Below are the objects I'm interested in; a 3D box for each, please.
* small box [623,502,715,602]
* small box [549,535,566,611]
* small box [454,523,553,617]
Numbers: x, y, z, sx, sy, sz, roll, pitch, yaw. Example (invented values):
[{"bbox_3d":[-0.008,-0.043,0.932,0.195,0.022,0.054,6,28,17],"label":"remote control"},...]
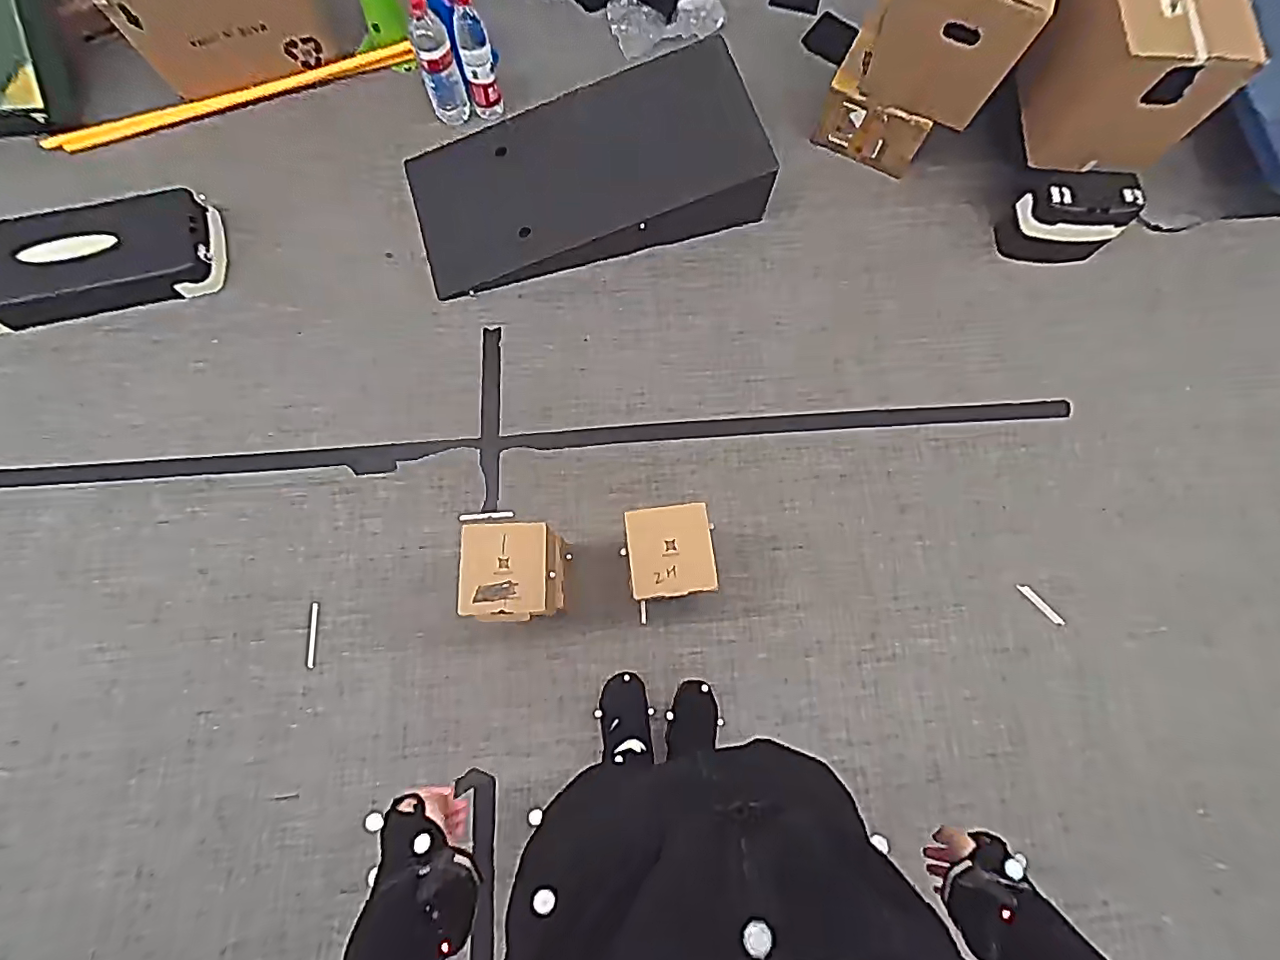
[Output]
[{"bbox_3d":[0.052,0.154,1.123,0.168,0.176,0.179,-6,77,-3],"label":"small box"},{"bbox_3d":[-0.267,0.225,1.265,0.179,0.176,0.168,-4,76,-3],"label":"small box"},{"bbox_3d":[-0.270,0.188,1.105,0.168,0.176,0.179,-1,75,-3],"label":"small box"}]
